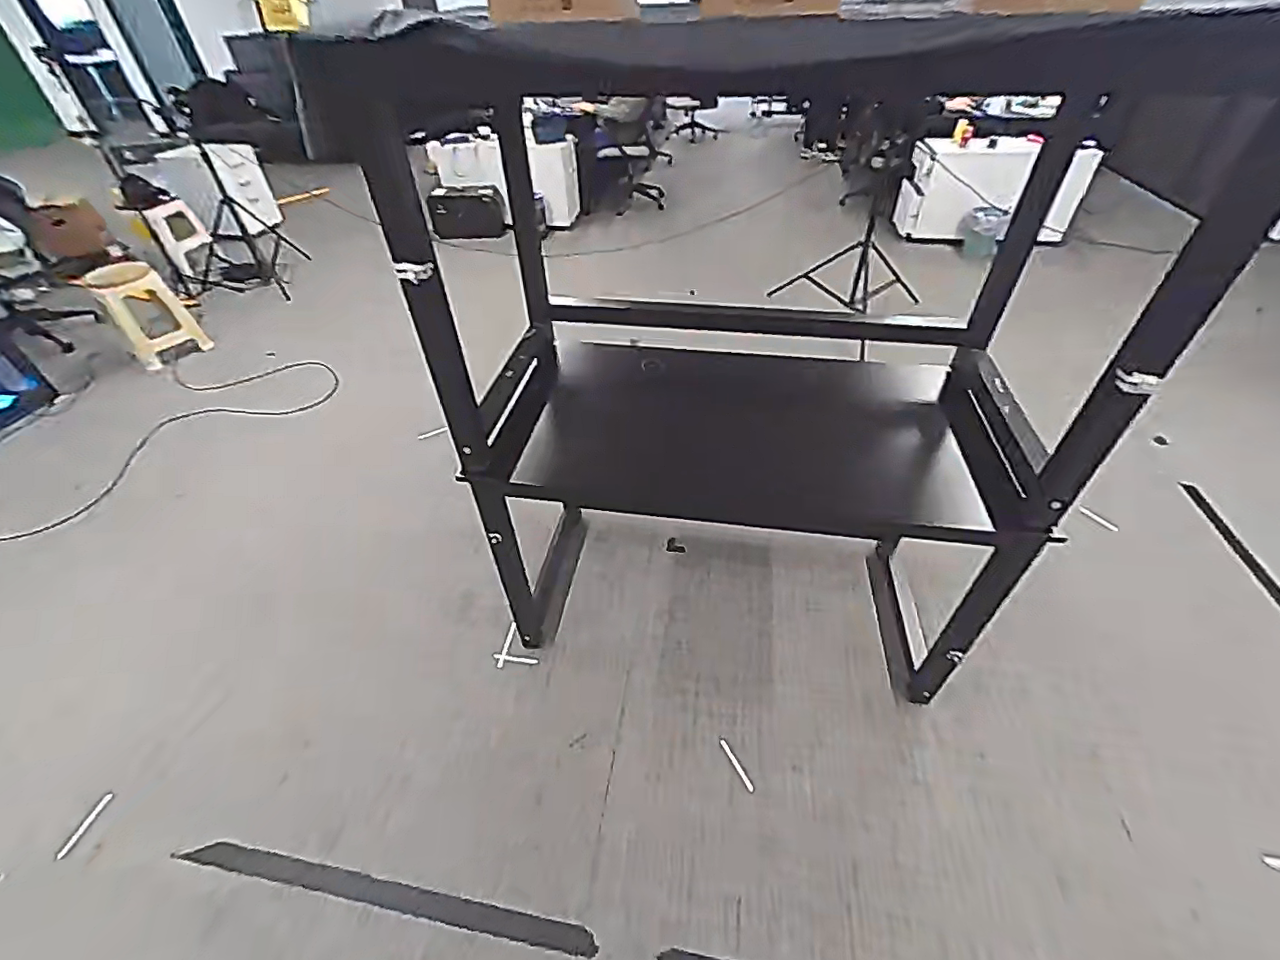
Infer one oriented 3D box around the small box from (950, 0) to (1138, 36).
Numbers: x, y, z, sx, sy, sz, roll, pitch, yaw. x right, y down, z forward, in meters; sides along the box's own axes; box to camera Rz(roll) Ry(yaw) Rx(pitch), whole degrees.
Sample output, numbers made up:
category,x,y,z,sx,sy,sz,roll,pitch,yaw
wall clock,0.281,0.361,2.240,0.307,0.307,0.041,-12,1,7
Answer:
category,x,y,z,sx,sy,sz,roll,pitch,yaw
small box,0.473,-0.617,0.610,0.168,0.176,0.179,9,43,12
